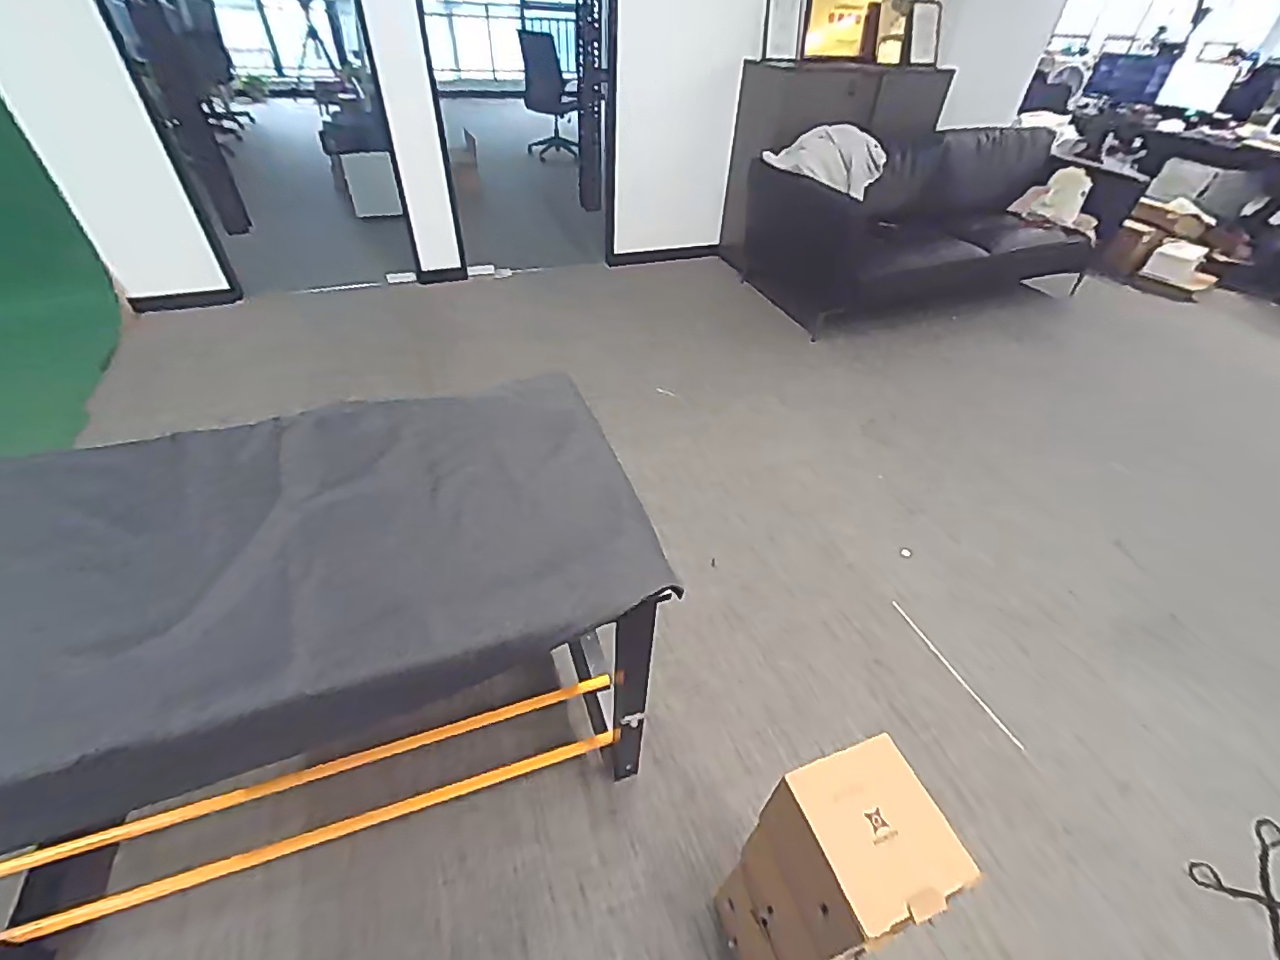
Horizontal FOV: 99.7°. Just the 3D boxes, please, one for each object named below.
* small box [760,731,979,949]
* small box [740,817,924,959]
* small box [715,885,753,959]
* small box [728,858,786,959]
[{"bbox_3d":[0.279,0.470,0.703,0.168,0.176,0.179,-12,44,-18],"label":"small box"},{"bbox_3d":[0.271,0.593,0.807,0.168,0.176,0.179,-11,45,-18],"label":"small box"},{"bbox_3d":[0.263,0.837,1.027,0.179,0.176,0.168,-11,43,-17],"label":"small box"},{"bbox_3d":[0.261,0.720,0.912,0.179,0.176,0.168,-12,45,-19],"label":"small box"}]
